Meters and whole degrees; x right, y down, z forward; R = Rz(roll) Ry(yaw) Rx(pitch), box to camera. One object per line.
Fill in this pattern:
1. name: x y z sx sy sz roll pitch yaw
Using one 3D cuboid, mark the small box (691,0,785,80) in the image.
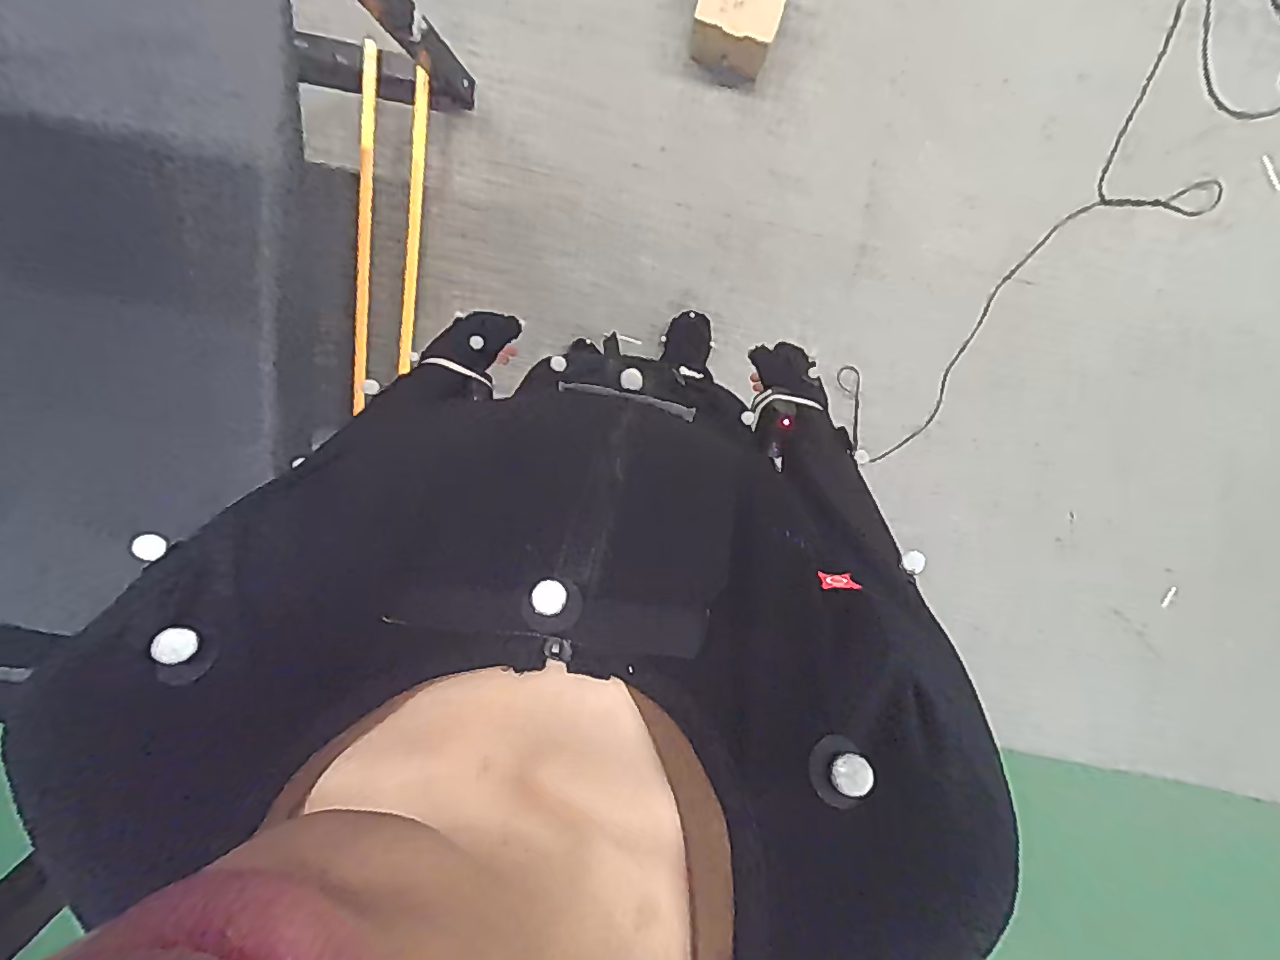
1. small box: 0.208 -0.984 1.121 0.168 0.176 0.179 17 107 -3
